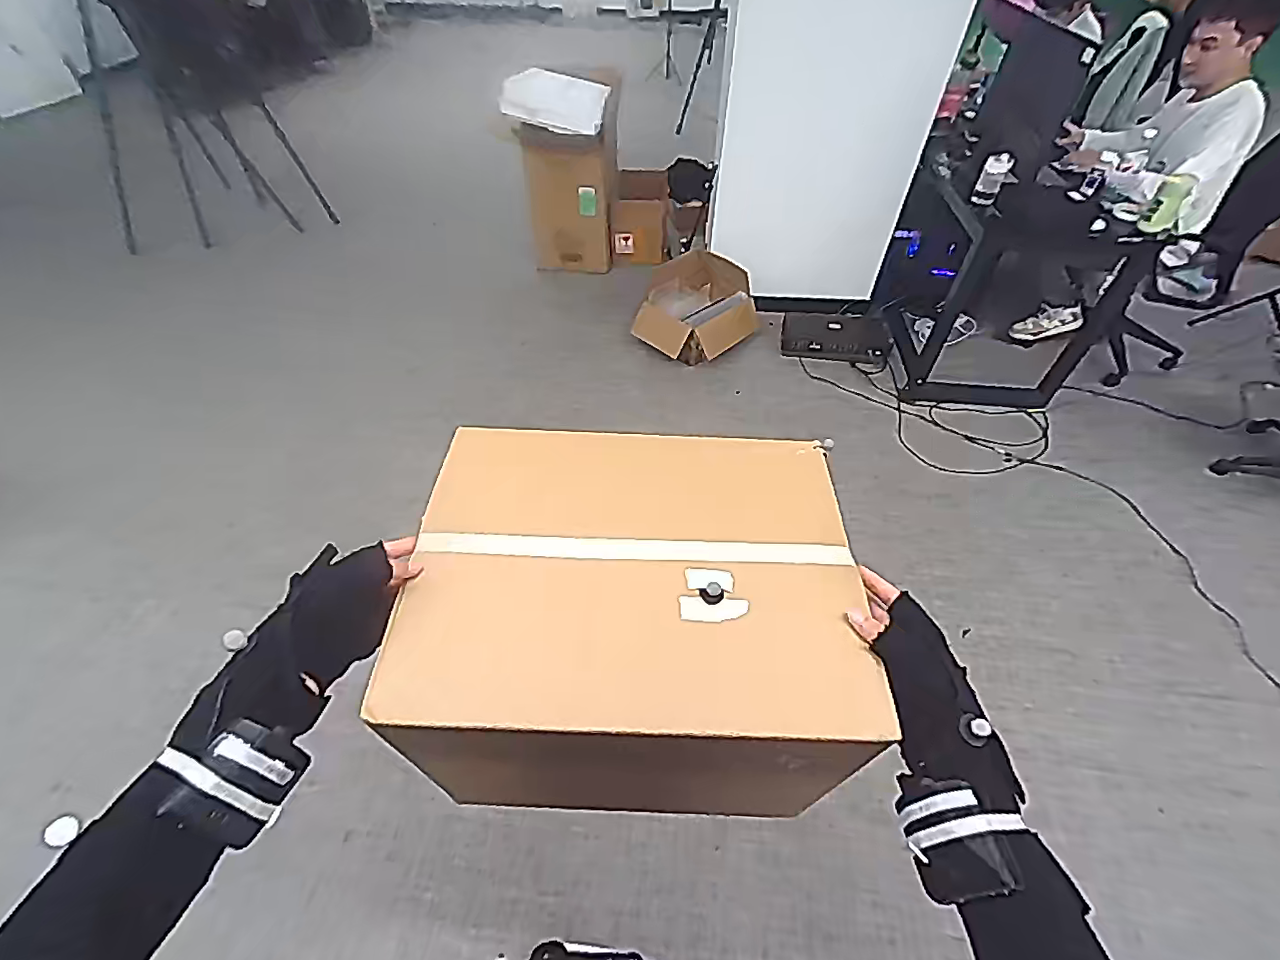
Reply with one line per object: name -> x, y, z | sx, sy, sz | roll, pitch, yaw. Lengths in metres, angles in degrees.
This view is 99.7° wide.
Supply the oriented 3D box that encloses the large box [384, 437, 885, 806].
large box -> -0.008, 0.171, 0.629 | 0.408, 0.320, 0.320 | 3, 49, -1
